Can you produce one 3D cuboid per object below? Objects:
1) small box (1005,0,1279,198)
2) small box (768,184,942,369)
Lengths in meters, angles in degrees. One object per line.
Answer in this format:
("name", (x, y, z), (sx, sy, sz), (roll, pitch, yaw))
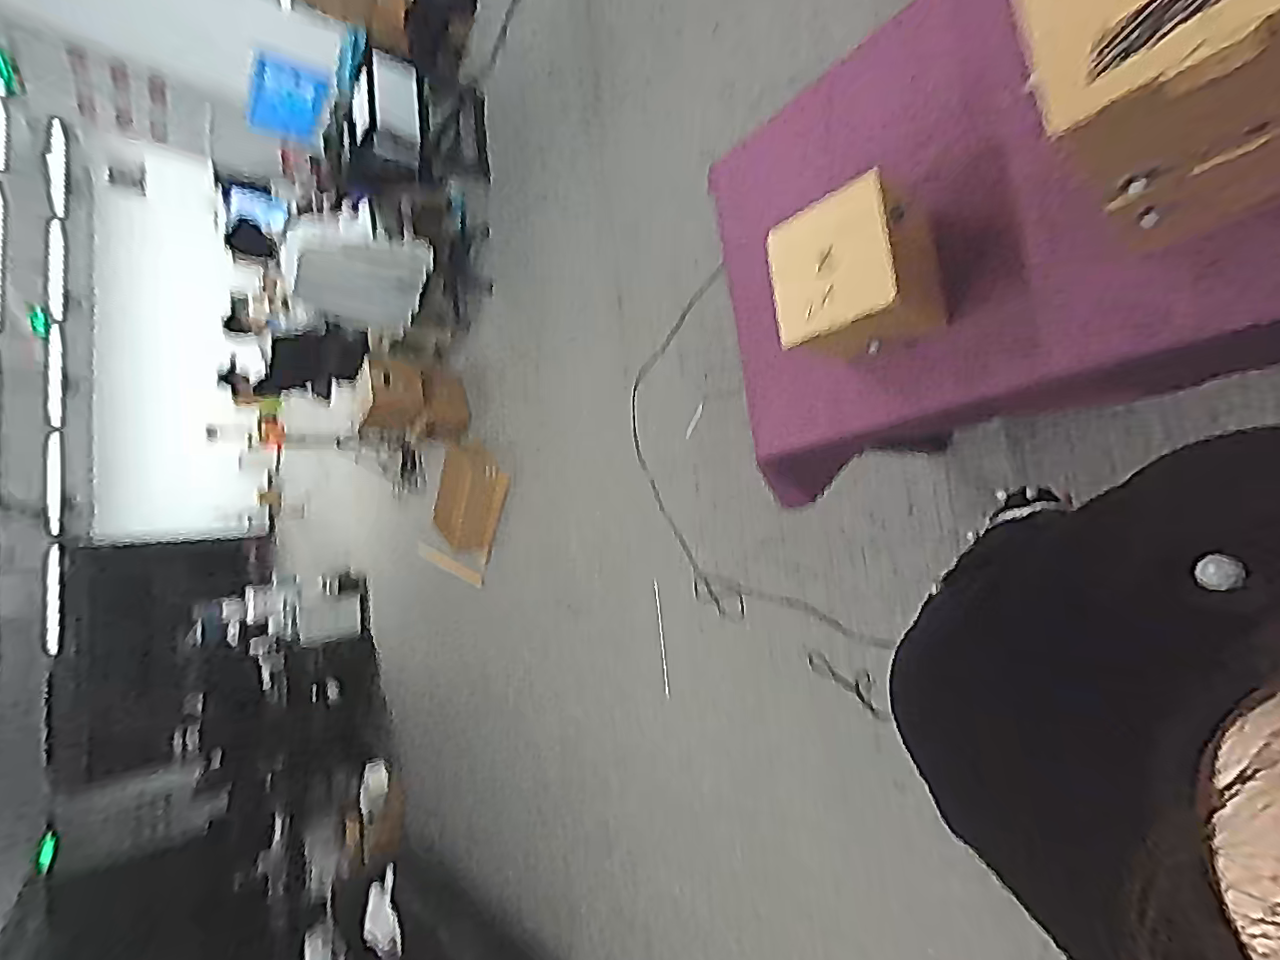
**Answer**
("small box", (0.411, -0.351, 0.418), (0.168, 0.176, 0.179), (-17, 76, 47))
("small box", (0.310, -0.277, 0.781), (0.168, 0.176, 0.179), (-15, 78, 48))
